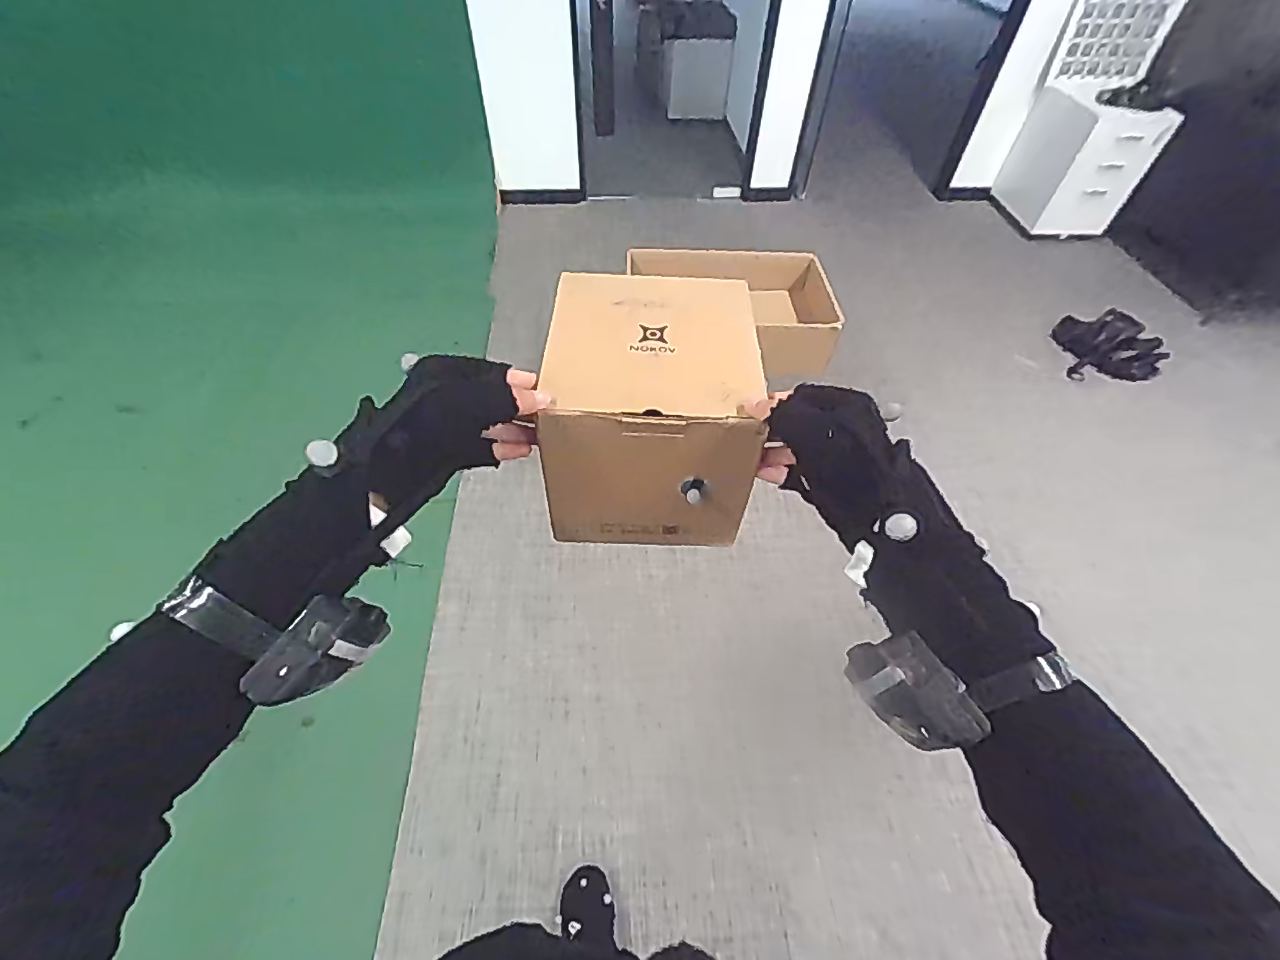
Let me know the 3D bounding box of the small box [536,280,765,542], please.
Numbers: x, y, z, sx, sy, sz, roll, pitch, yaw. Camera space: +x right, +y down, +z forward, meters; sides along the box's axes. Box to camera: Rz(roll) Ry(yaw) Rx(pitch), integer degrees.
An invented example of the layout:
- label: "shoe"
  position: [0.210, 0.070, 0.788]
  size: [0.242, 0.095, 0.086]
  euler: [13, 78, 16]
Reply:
- label: "small box"
  position: [0.007, -0.058, 0.492]
  size: [0.168, 0.176, 0.179]
  euler: [2, 50, -1]
